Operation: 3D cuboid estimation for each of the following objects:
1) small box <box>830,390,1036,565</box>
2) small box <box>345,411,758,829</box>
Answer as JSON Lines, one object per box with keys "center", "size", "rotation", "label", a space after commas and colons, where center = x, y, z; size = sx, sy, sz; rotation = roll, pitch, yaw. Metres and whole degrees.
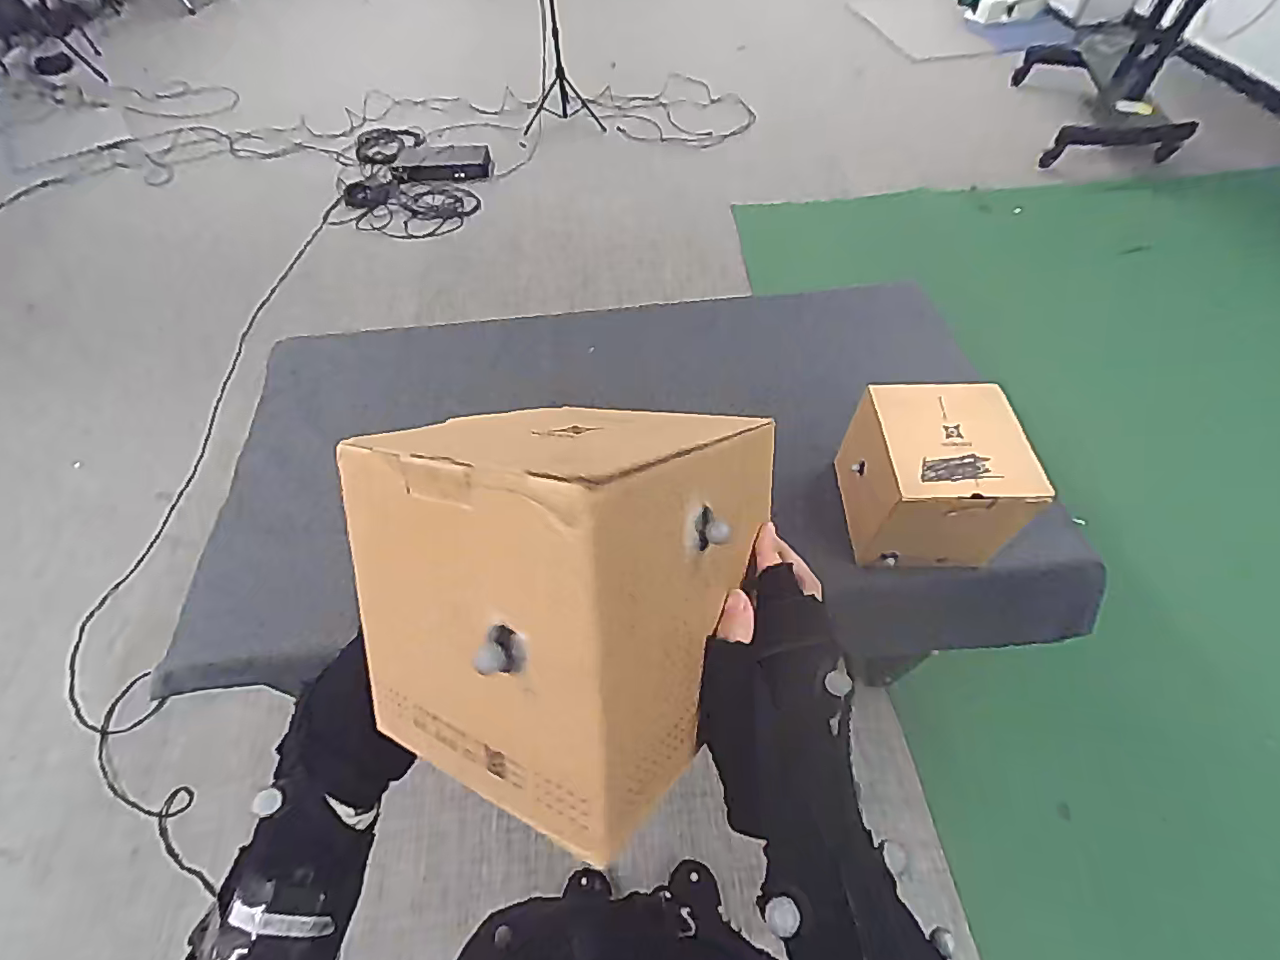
{"center": [0.365, 0.001, 0.715], "size": [0.168, 0.176, 0.179], "rotation": [1, 55, 2], "label": "small box"}
{"center": [-0.039, 0.055, 0.324], "size": [0.168, 0.176, 0.179], "rotation": [10, 16, 30], "label": "small box"}
